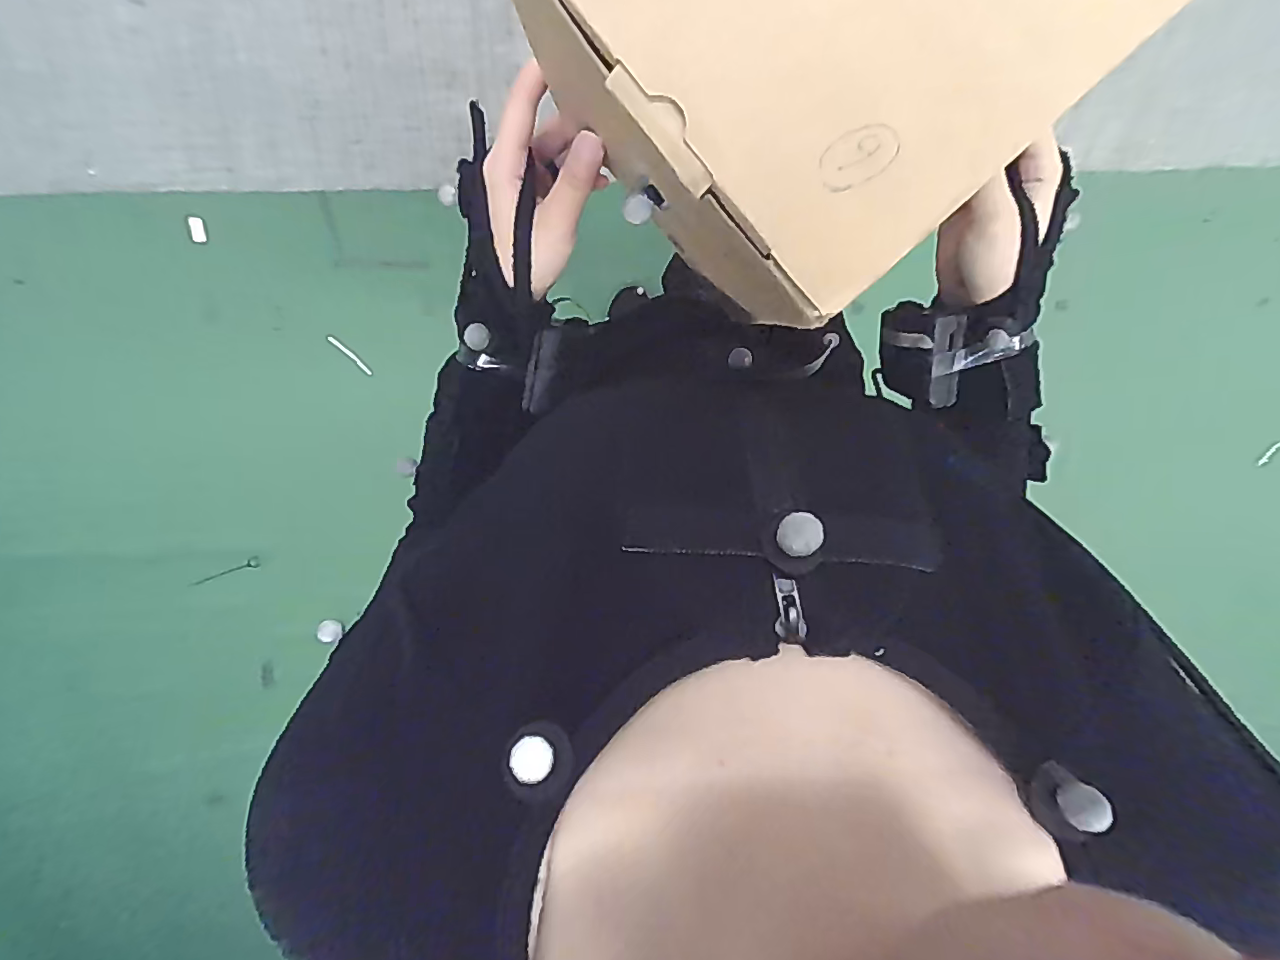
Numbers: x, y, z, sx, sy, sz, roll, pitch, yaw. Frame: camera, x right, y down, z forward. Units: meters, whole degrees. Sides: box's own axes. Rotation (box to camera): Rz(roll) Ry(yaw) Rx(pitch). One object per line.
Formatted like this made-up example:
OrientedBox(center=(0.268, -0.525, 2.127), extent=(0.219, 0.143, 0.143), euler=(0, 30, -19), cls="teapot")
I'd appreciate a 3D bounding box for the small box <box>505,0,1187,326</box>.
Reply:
OrientedBox(center=(0.067, -0.186, 0.232), extent=(0.179, 0.176, 0.168), euler=(-41, 102, 12), cls="small box")
